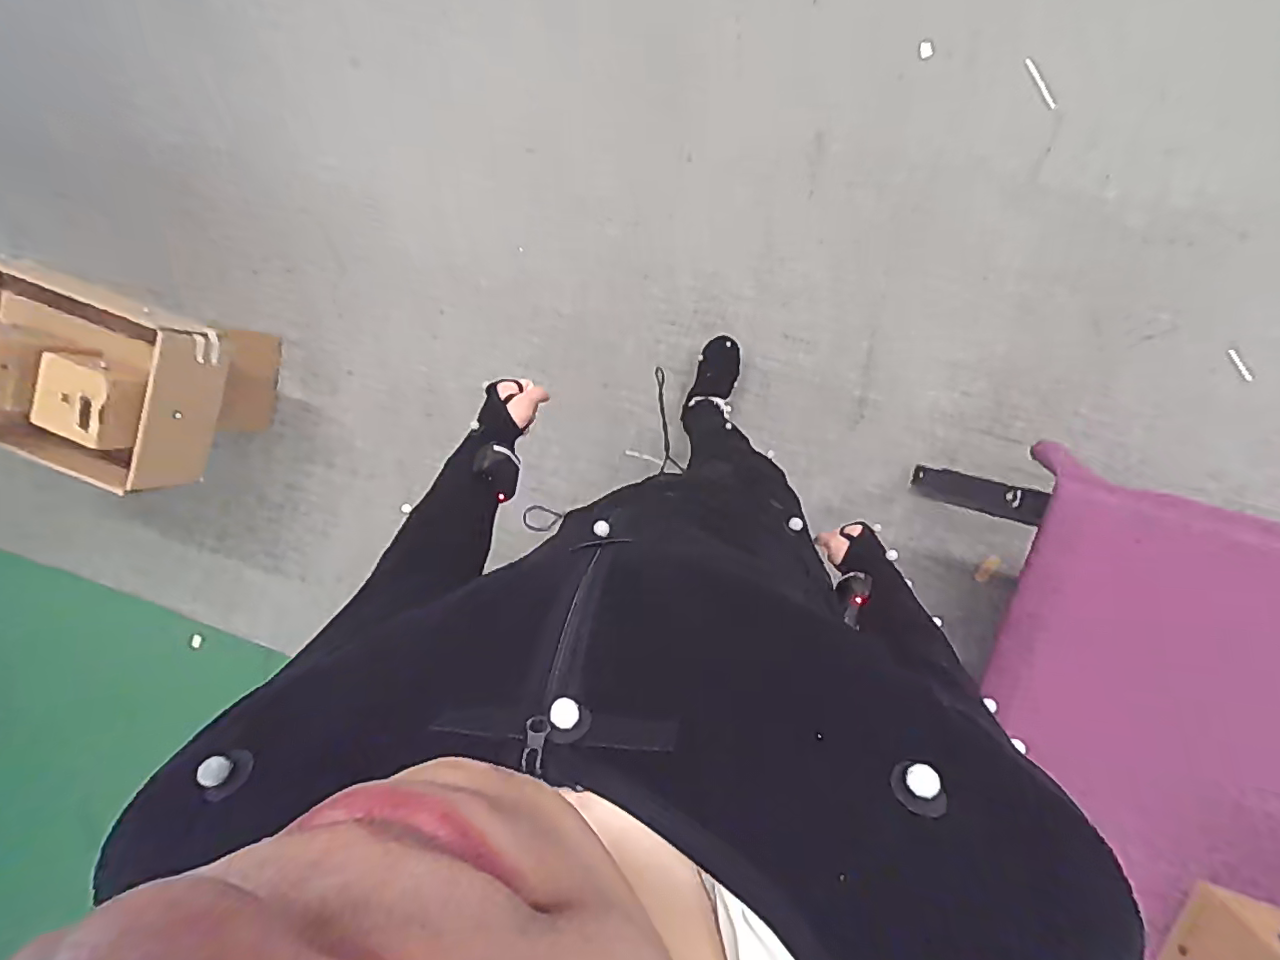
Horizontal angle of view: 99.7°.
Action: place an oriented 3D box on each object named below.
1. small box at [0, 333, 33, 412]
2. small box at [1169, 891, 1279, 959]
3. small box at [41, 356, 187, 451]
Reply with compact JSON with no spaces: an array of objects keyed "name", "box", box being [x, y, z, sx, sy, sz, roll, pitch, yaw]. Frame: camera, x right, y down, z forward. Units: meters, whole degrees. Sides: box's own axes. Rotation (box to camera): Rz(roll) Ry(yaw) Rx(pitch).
[{"name":"small box","box":[-1.459,-0.244,1.132,0.179,0.176,0.168,20,98,3]},{"name":"small box","box":[0.905,0.722,0.743,0.179,0.176,0.168,18,99,6]},{"name":"small box","box":[-1.220,-0.176,1.266,0.179,0.176,0.168,21,98,7]}]
